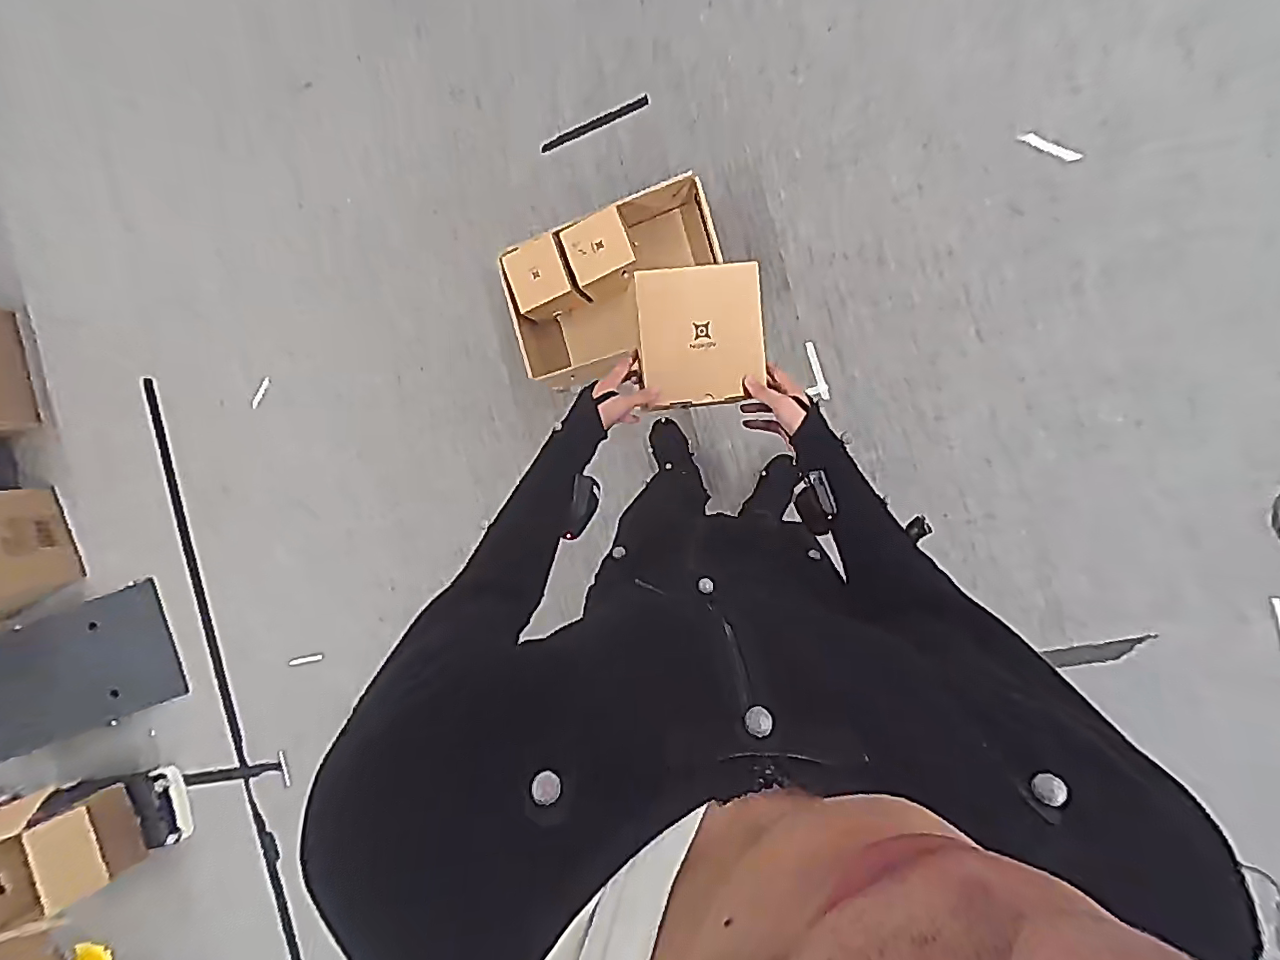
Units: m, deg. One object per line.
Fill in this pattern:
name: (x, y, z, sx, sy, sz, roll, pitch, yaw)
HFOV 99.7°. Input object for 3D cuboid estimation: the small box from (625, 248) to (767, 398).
small box: (0.071, -0.211, 0.767, 0.168, 0.176, 0.179, -6, 99, -4)

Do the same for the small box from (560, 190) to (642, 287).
small box: (-0.100, -0.674, 1.529, 0.179, 0.176, 0.168, -20, 89, 12)
